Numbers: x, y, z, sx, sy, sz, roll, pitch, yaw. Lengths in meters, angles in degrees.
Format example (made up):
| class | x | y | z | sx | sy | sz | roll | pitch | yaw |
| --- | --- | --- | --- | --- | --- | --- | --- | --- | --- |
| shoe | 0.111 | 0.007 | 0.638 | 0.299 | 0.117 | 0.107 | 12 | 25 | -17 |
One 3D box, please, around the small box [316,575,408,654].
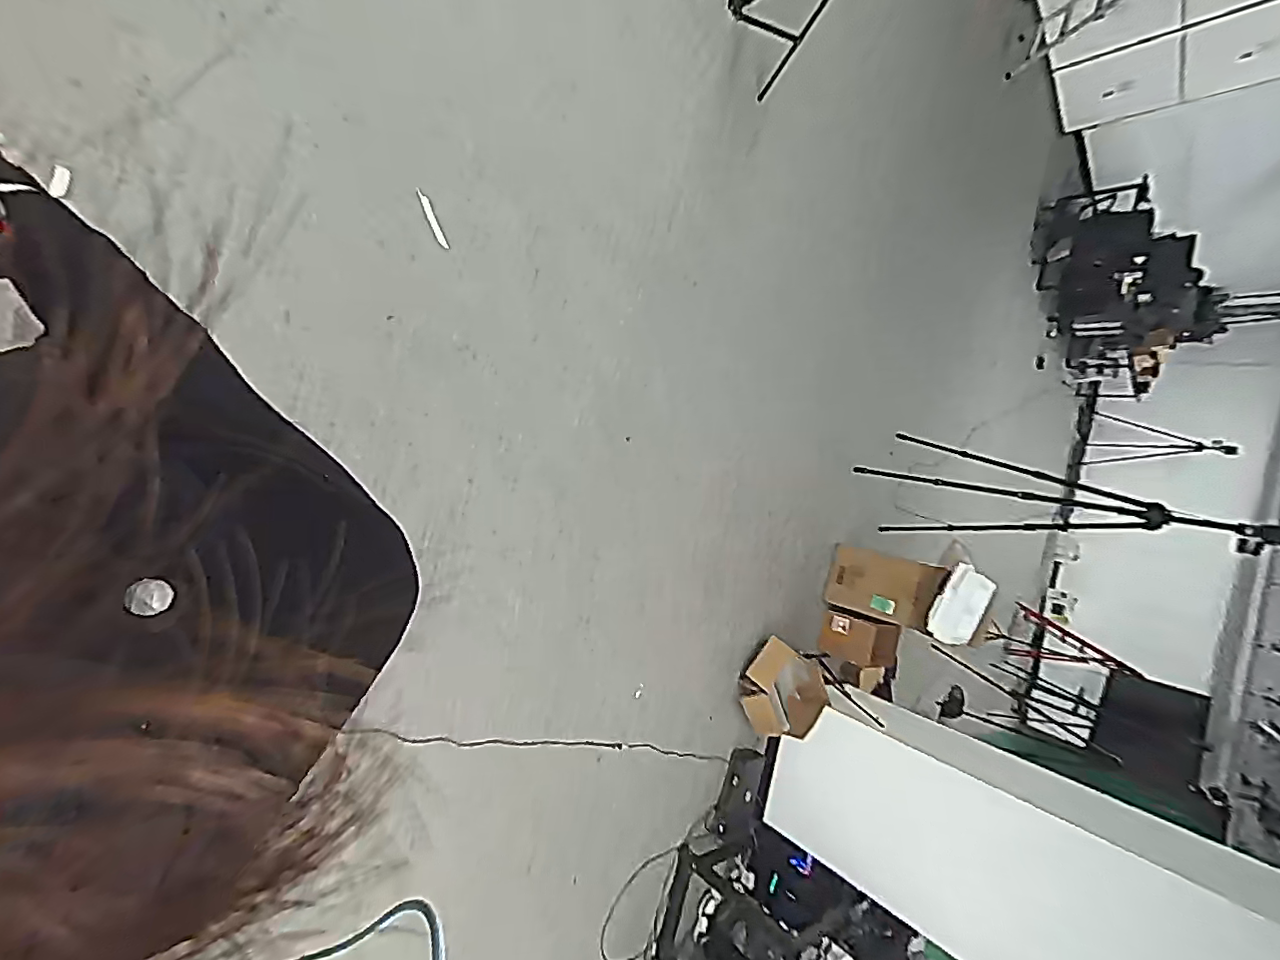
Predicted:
| class | x | y | z | sx | sy | sz | roll | pitch | yaw |
| --- | --- | --- | --- | --- | --- | --- | --- | --- | --- |
| small box | -0.784 | 0.373 | 1.516 | 0.168 | 0.176 | 0.179 | 17 | 87 | -44 |
